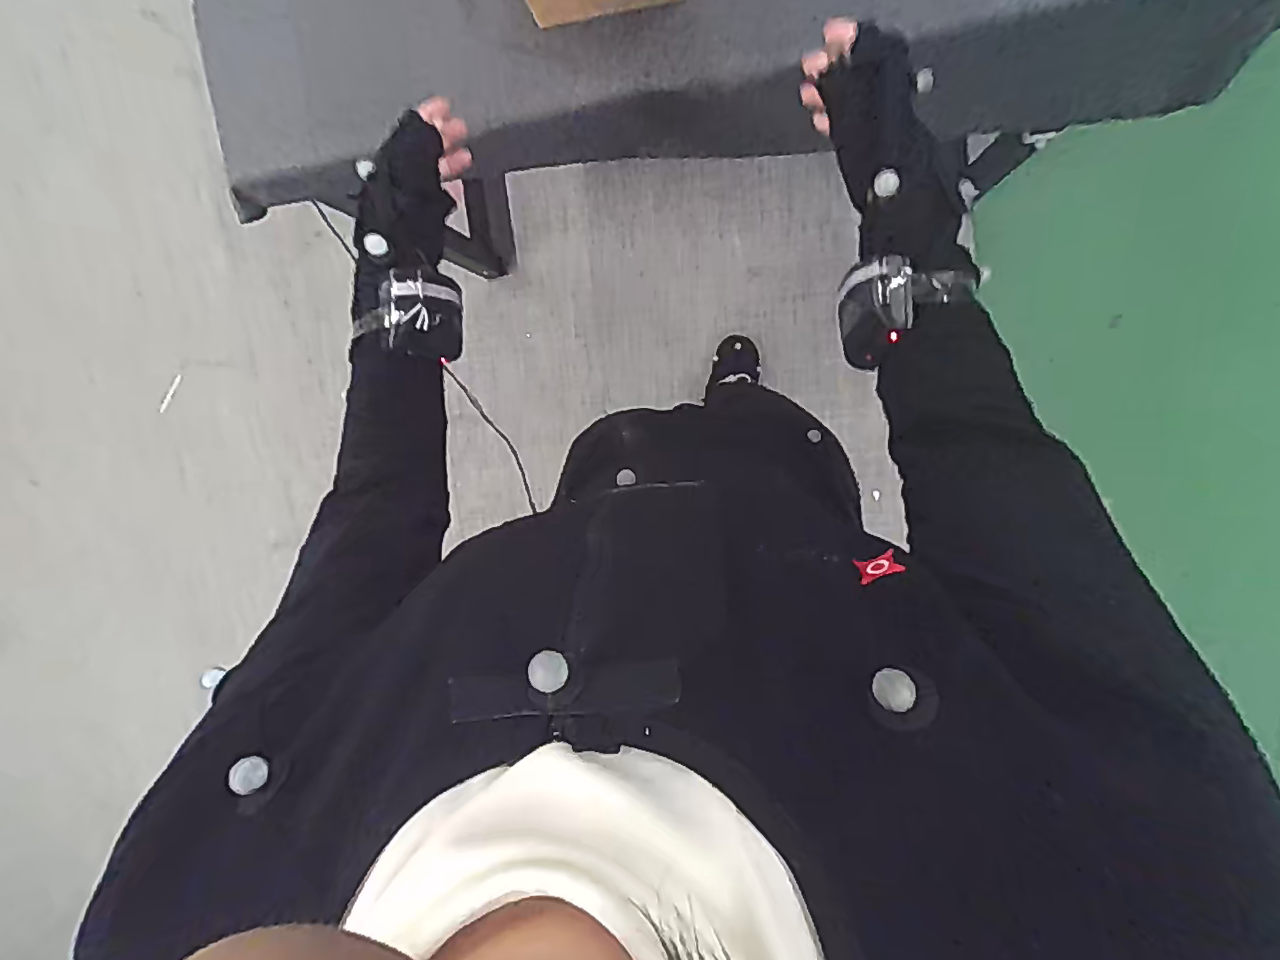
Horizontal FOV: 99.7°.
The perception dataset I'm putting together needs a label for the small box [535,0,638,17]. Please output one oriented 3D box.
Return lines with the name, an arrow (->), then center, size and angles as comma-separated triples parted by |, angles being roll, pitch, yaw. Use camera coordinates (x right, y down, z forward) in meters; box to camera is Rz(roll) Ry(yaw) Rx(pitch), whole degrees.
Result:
small box -> -0.047, -0.598, 0.516 | 0.179, 0.176, 0.168 | -2, 98, 11
